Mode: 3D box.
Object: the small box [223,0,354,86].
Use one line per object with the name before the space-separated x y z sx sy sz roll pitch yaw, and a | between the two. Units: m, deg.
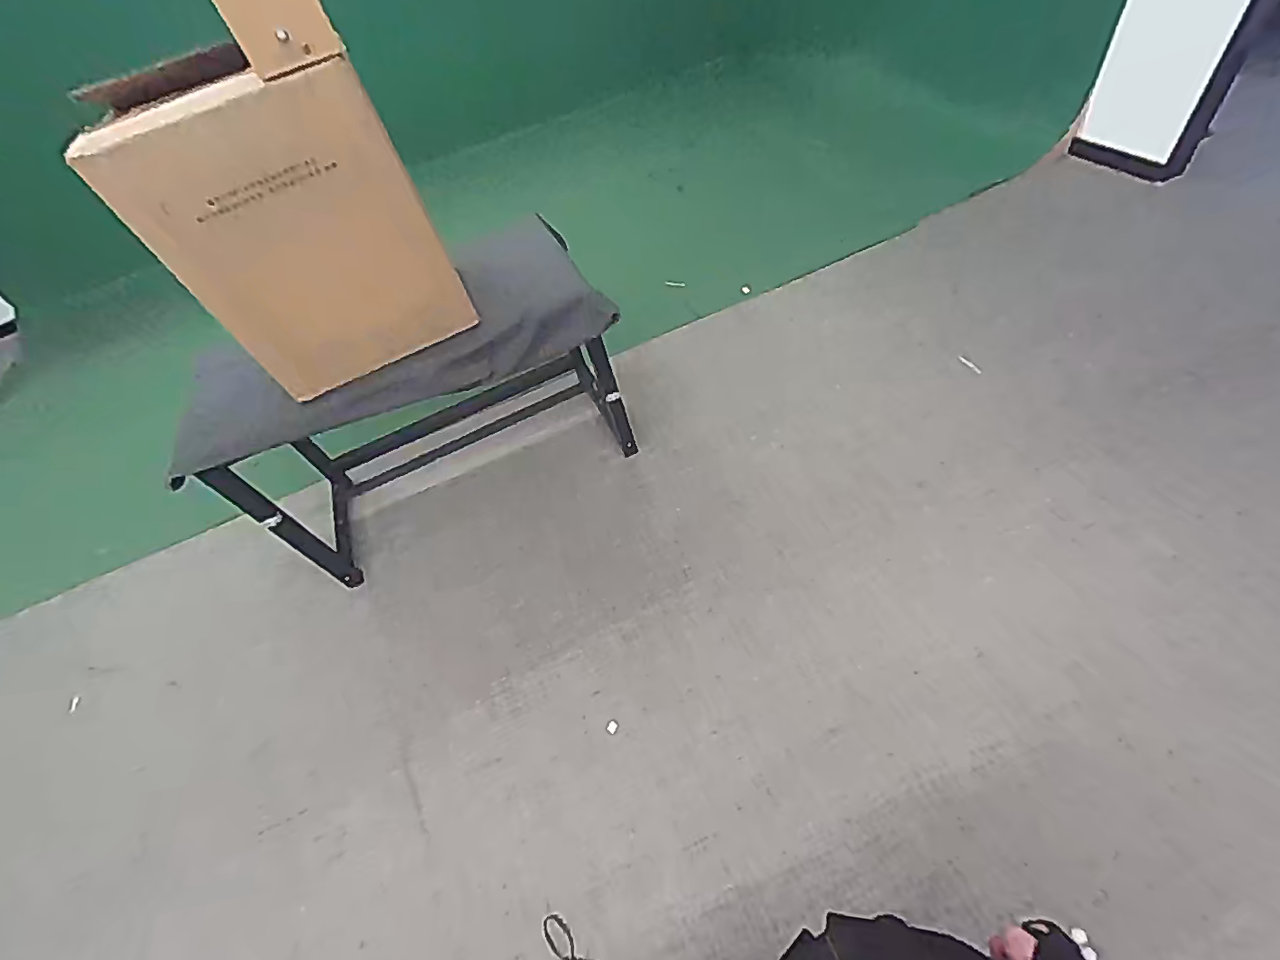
small box | -0.676 -0.887 1.035 0.168 0.176 0.179 -26 52 -8
